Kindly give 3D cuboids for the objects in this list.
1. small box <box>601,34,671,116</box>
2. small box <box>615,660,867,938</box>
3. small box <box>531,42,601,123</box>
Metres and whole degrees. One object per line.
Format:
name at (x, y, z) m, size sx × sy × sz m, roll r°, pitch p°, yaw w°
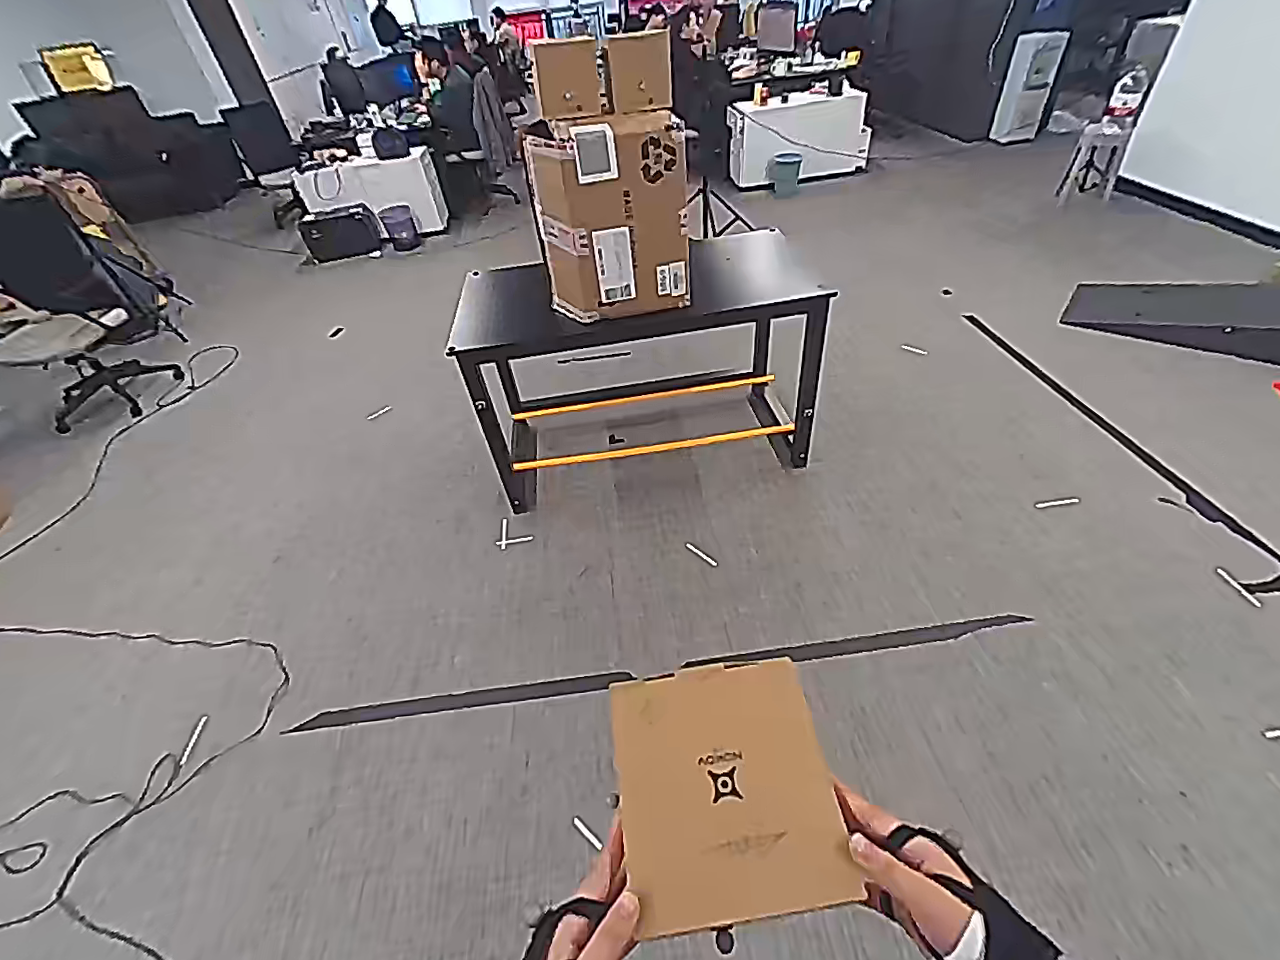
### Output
small box at (-0.011, -1.141, 1.523) m, size 0.168 × 0.176 × 0.179 m, roll -11°, pitch 41°, yaw -4°
small box at (0.069, 0.286, 0.483) m, size 0.168 × 0.176 × 0.179 m, roll -7°, pitch 51°, yaw -3°
small box at (-0.207, -1.107, 1.507) m, size 0.168 × 0.176 × 0.179 m, roll -11°, pitch 41°, yaw -7°
